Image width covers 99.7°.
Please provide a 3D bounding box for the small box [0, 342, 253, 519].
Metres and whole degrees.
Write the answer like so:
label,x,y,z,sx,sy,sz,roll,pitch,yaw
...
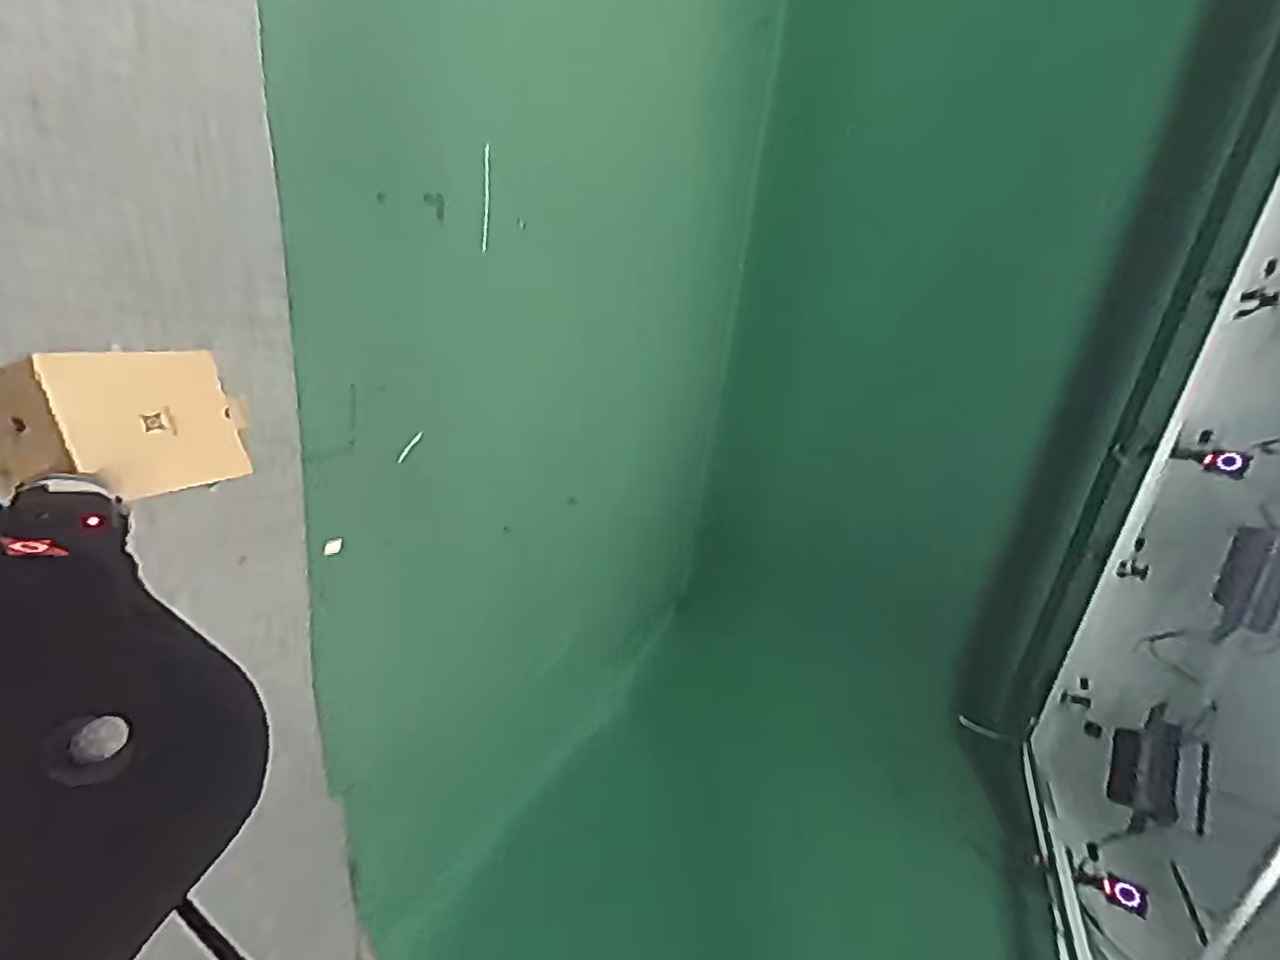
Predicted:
label,x,y,z,sx,sy,sz,roll,pitch,yaw
small box,-0.628,-0.062,0.646,0.179,0.176,0.168,-41,119,-67
